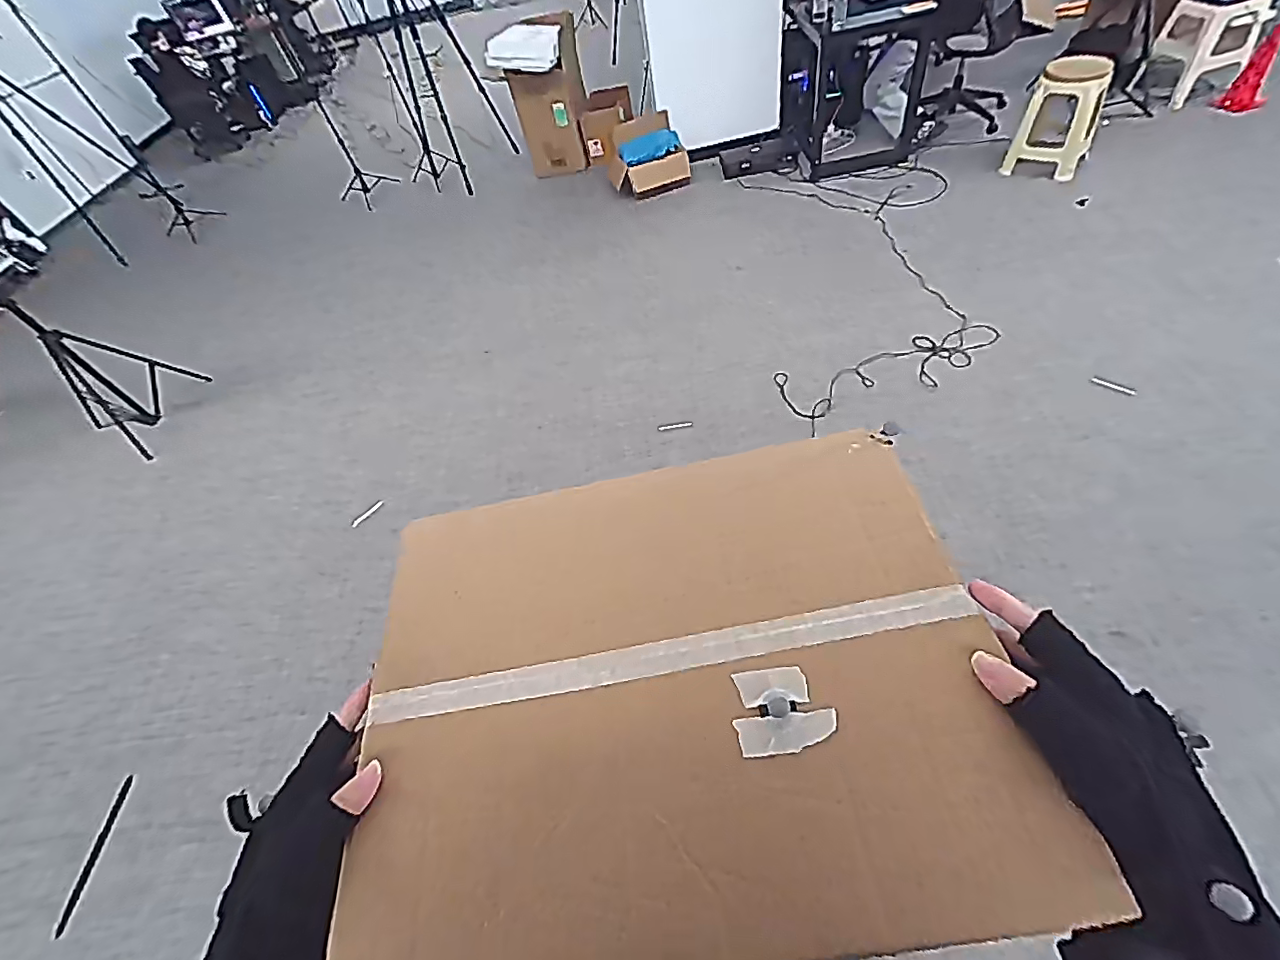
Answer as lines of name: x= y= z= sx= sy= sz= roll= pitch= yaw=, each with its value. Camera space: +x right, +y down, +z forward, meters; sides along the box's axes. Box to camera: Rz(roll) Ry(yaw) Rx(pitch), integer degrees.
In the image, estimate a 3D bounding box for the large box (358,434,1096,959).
large box: x=0.043 y=0.208 z=0.488 sx=0.408 sy=0.320 sz=0.320 roll=-11 pitch=53 yaw=3
